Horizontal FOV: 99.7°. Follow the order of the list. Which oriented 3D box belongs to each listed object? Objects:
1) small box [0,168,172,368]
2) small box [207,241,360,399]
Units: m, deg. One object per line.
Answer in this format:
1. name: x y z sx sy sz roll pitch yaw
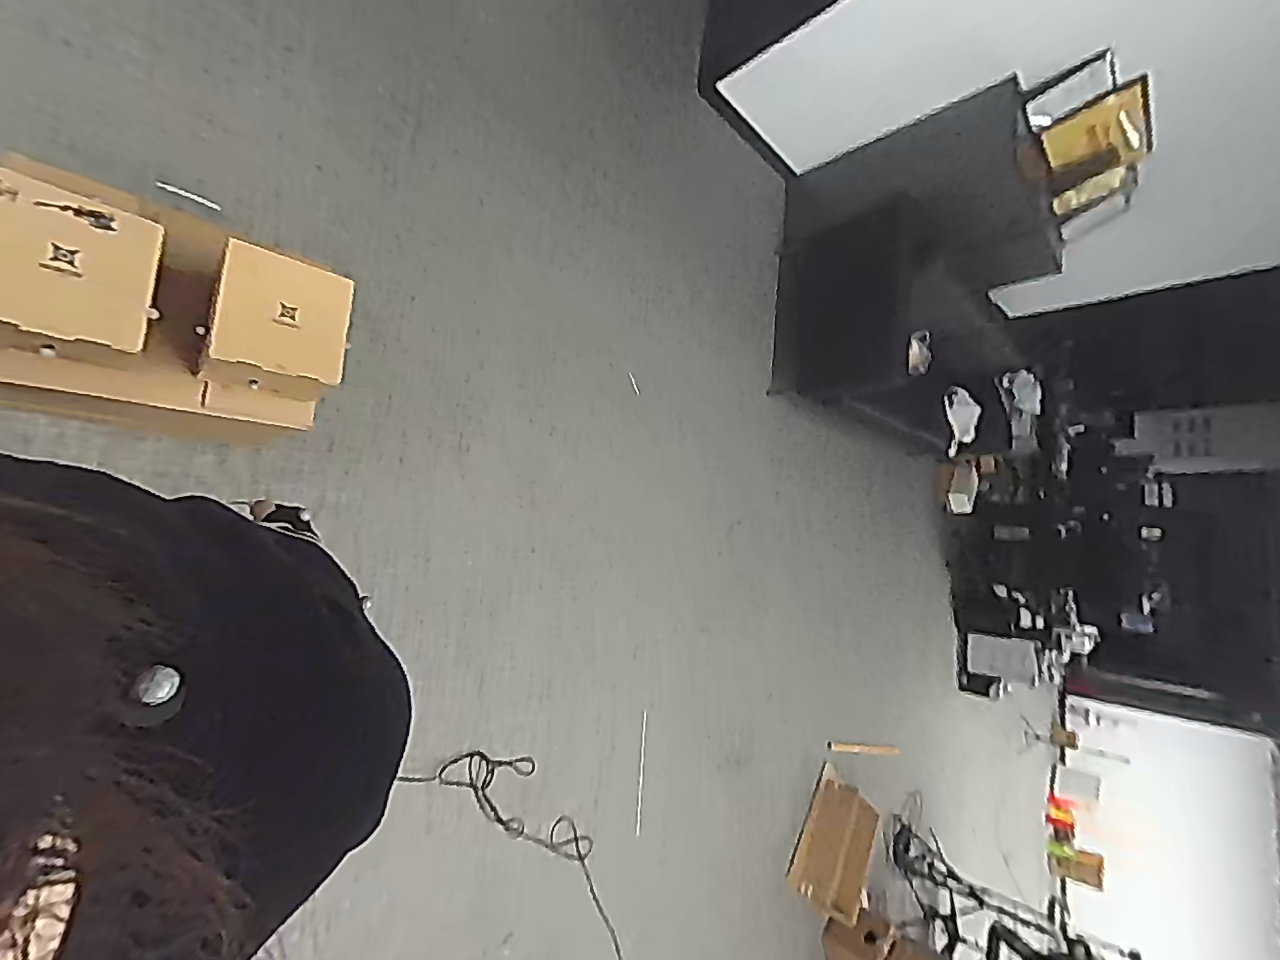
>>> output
1. small box: -0.734 -0.254 0.698 0.168 0.176 0.179 11 83 -46
2. small box: -0.570 -0.239 0.862 0.168 0.176 0.179 10 82 -43
